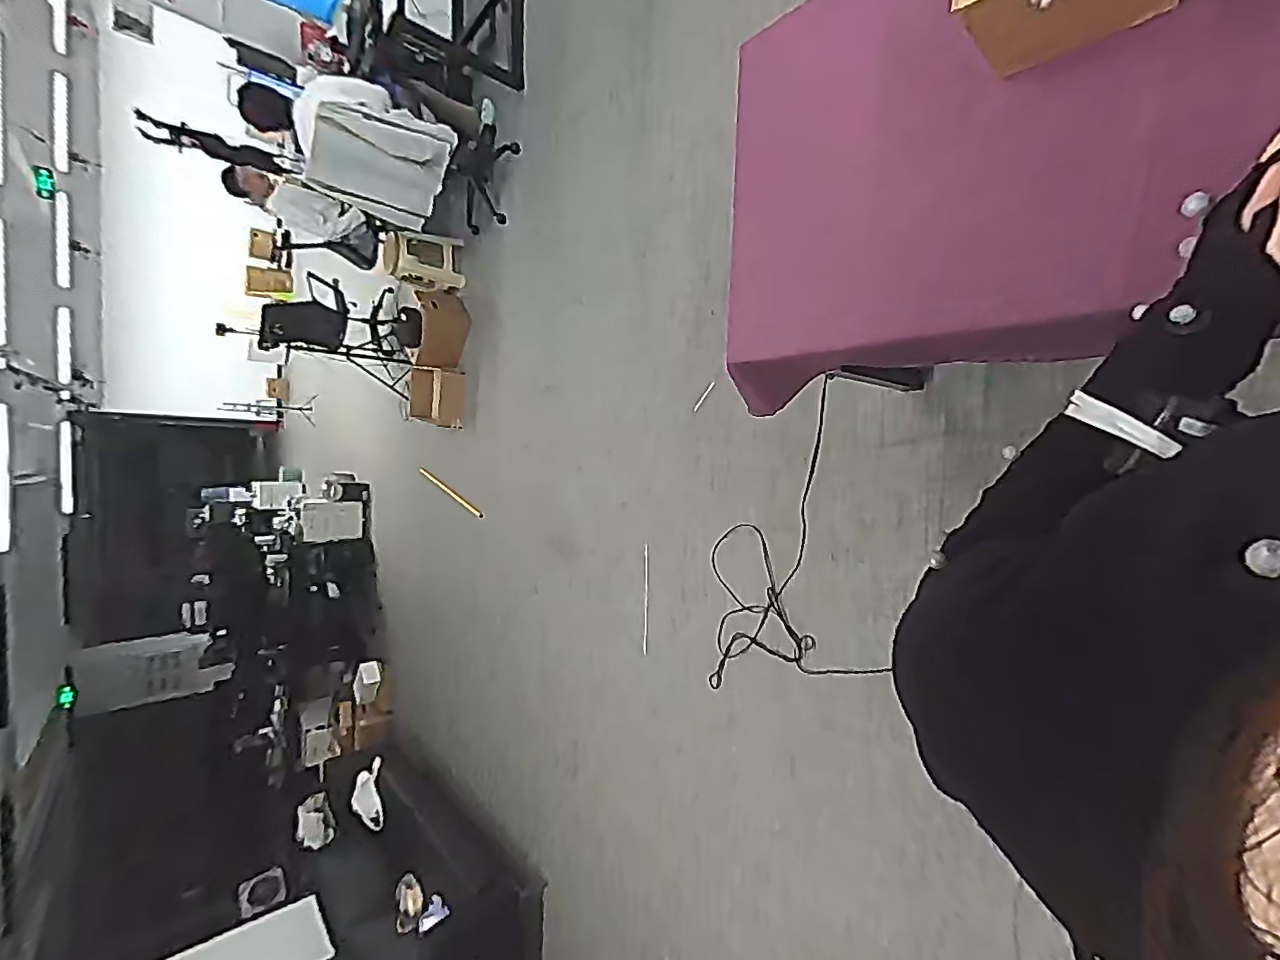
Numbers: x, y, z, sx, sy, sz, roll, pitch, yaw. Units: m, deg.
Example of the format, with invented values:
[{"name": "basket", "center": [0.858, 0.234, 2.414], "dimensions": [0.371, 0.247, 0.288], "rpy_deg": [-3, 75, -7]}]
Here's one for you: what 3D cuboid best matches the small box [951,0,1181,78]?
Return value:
[{"name": "small box", "center": [0.478, -0.596, 0.598], "dimensions": [0.179, 0.176, 0.168], "rpy_deg": [10, 98, 49]}]
